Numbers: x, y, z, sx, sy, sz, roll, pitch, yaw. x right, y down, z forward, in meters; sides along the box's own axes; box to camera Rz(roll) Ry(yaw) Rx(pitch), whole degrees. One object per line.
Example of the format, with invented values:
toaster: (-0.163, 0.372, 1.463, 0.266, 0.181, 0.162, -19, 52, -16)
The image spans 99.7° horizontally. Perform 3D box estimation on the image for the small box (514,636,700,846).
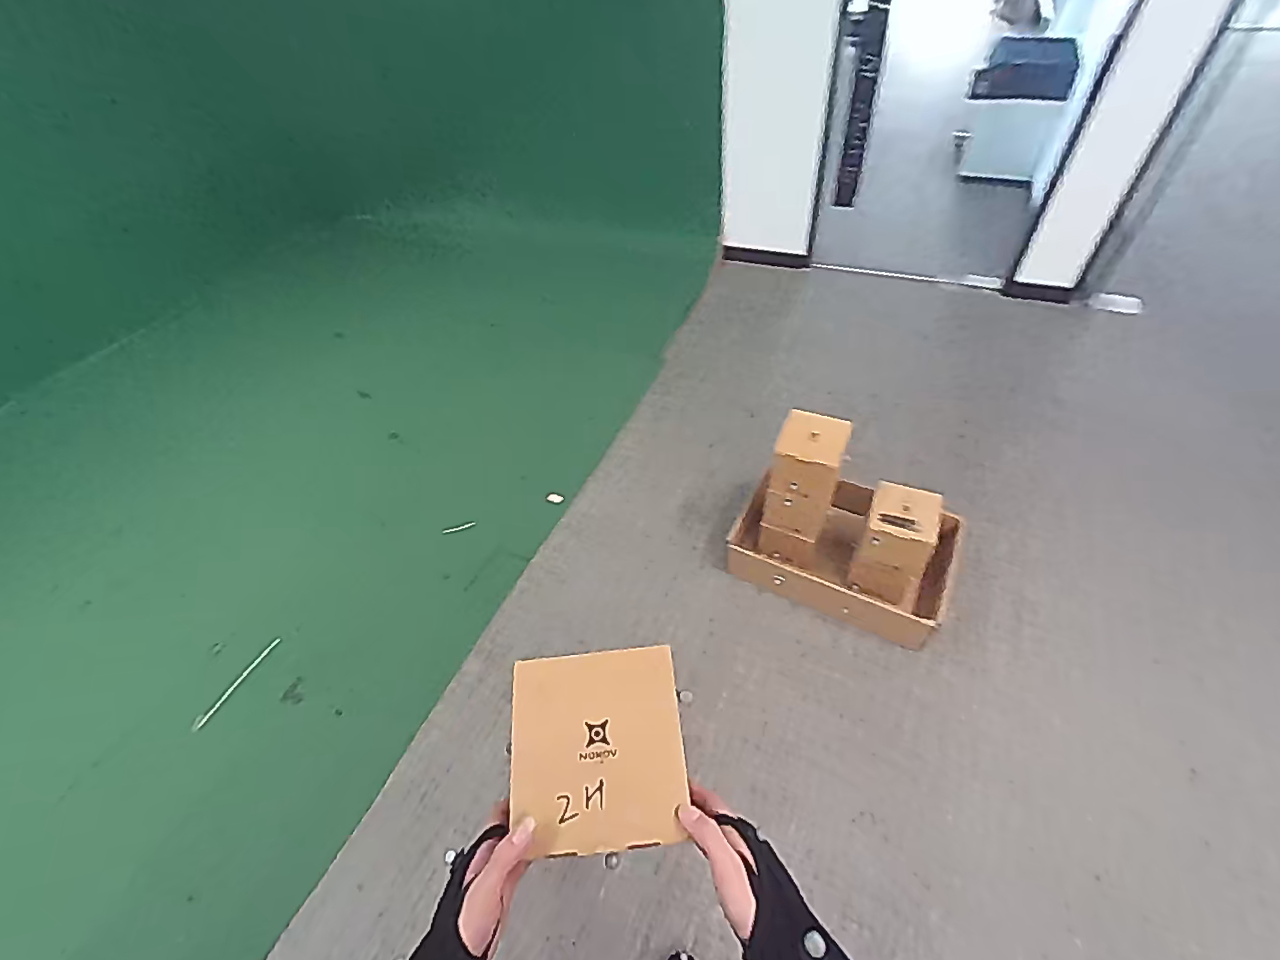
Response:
small box: (-0.031, 0.284, 0.582, 0.168, 0.176, 0.179, -5, 57, 0)

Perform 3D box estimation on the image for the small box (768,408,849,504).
small box: (0.457, -0.065, 1.484, 0.168, 0.176, 0.179, 17, 54, 20)

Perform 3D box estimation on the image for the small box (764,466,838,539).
small box: (0.473, 0.042, 1.607, 0.168, 0.176, 0.179, 17, 53, 22)
